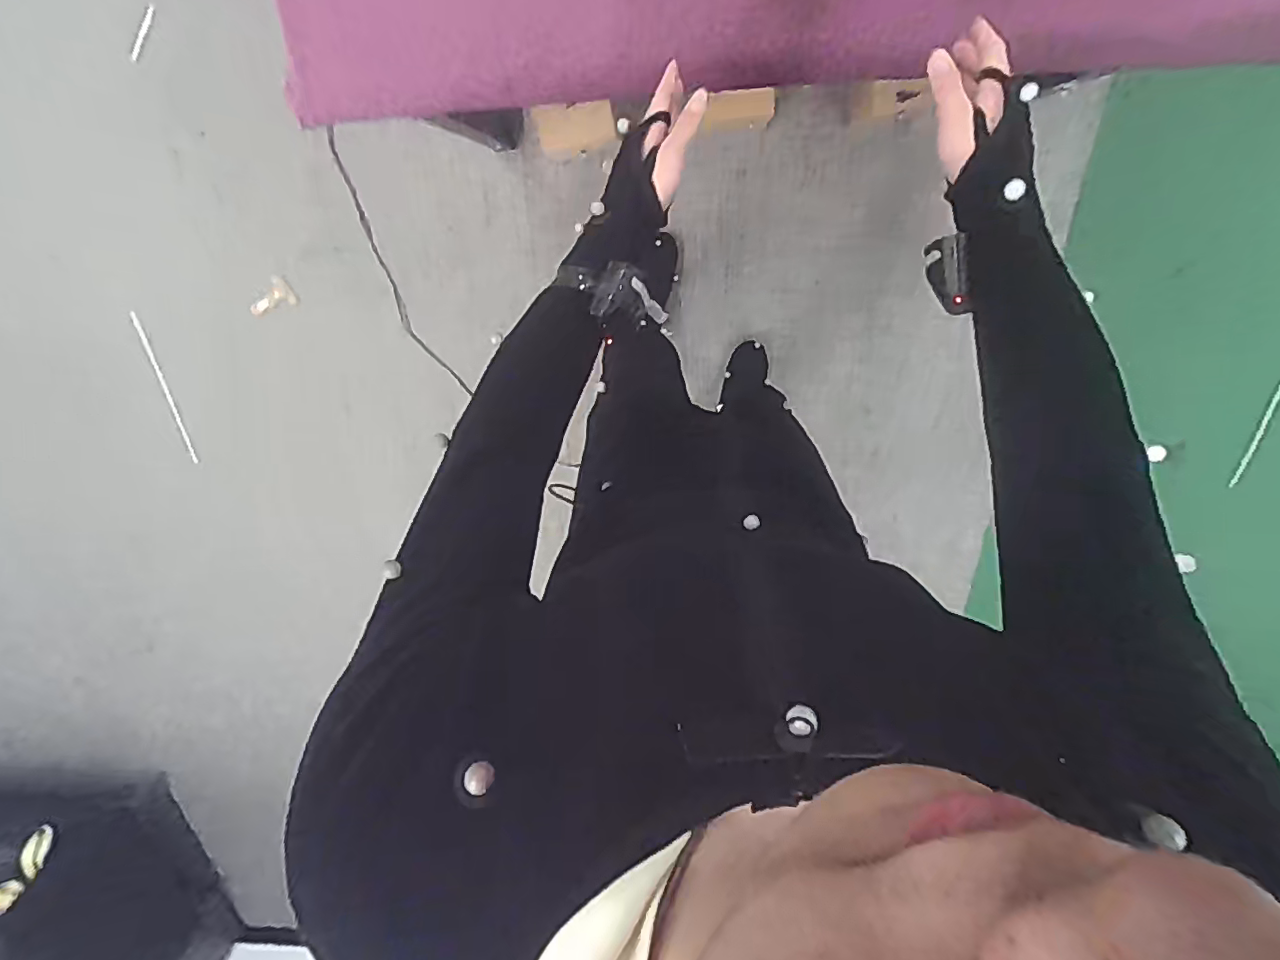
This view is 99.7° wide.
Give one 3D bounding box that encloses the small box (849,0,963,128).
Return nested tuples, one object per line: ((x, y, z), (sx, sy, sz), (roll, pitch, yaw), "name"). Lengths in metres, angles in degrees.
((0.544, -0.865, 1.130), (0.168, 0.176, 0.179), (-7, 114, 7), "small box")

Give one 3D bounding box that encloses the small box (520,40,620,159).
((-0.143, -0.825, 1.194), (0.168, 0.176, 0.179), (-9, 114, 8), "small box")

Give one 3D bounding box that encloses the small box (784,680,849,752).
((0.613, 0.825, 1.901), (0.179, 0.176, 0.168), (0, 115, 3), "small box")
